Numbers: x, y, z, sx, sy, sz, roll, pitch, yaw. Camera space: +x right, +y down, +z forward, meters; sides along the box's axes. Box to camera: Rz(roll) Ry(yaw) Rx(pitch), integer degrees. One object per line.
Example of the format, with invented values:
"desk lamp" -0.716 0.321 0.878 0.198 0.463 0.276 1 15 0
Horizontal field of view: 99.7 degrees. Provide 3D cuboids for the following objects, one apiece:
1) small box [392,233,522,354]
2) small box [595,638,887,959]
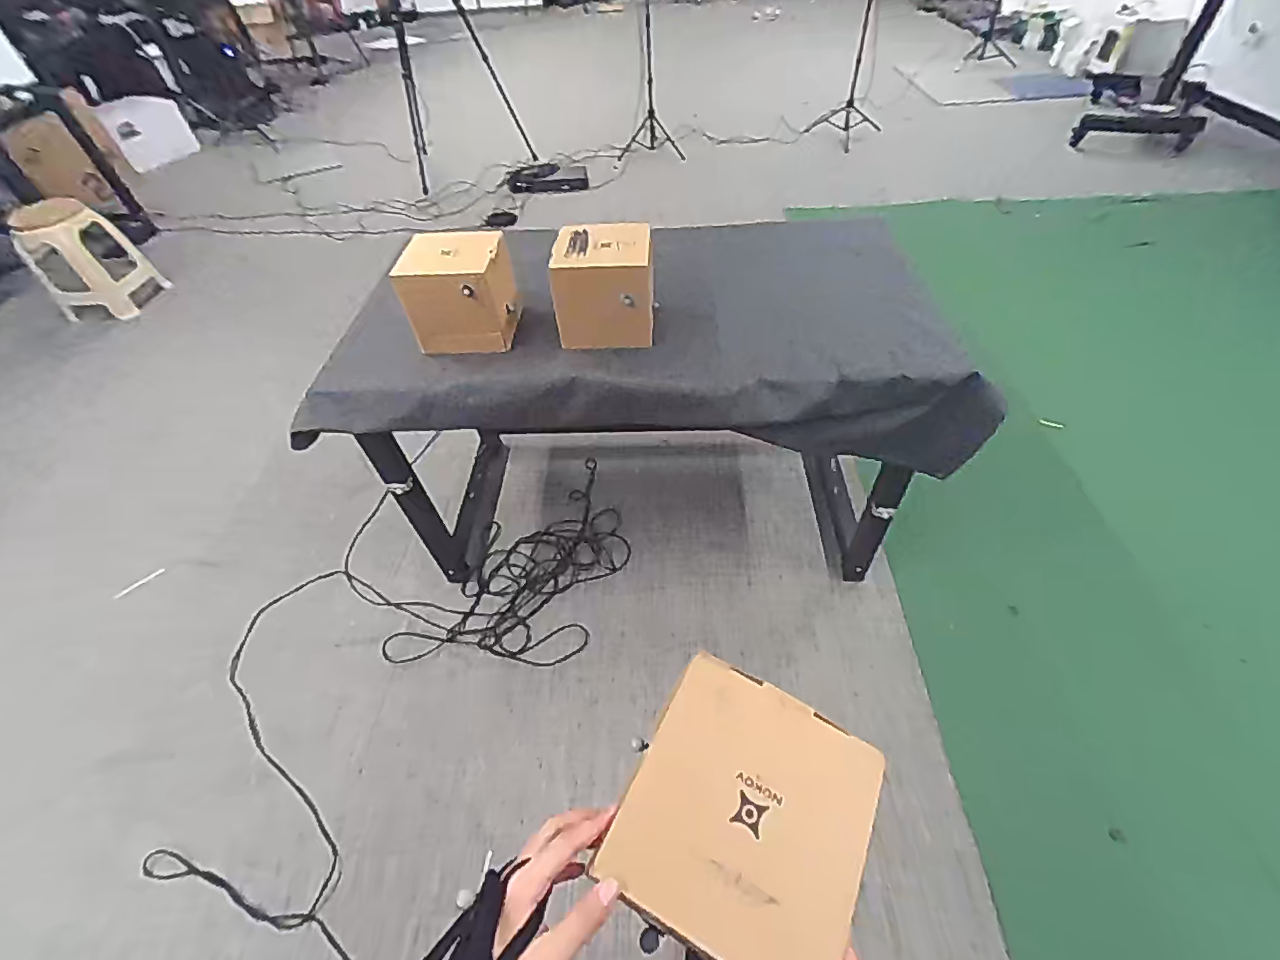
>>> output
"small box" -0.344 -0.359 1.052 0.179 0.176 0.168 -1 48 3
"small box" 0.072 0.271 0.449 0.168 0.176 0.179 27 55 12
